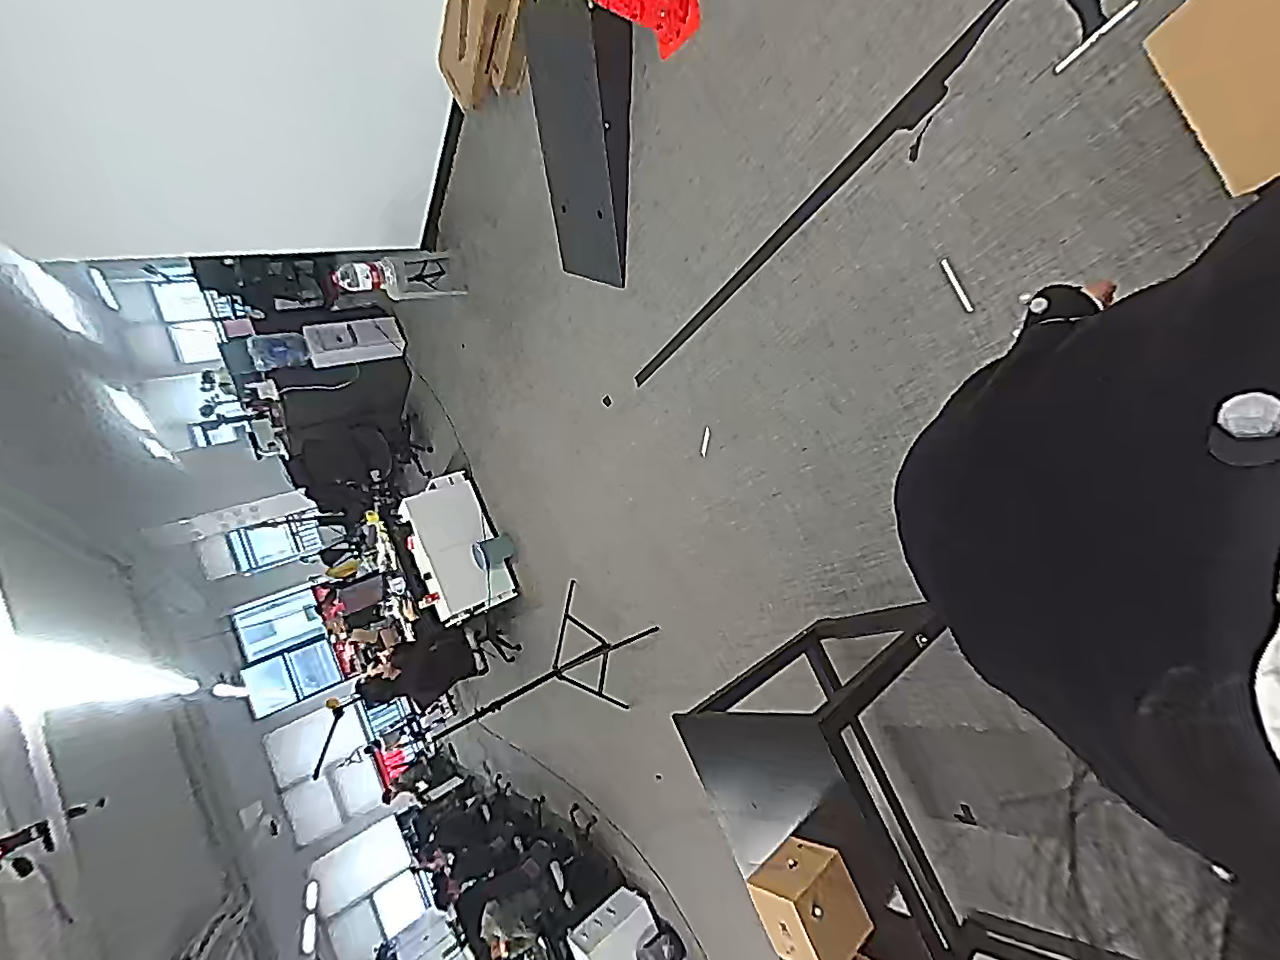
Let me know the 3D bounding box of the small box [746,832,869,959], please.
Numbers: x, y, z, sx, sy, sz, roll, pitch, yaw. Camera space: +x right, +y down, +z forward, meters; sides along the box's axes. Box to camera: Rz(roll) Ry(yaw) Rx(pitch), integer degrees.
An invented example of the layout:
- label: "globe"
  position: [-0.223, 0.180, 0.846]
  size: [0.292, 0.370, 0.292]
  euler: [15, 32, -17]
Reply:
- label: "small box"
  position: [0.382, 0.950, 1.235]
  size: [0.168, 0.176, 0.179]
  euler: [-36, 77, 56]
